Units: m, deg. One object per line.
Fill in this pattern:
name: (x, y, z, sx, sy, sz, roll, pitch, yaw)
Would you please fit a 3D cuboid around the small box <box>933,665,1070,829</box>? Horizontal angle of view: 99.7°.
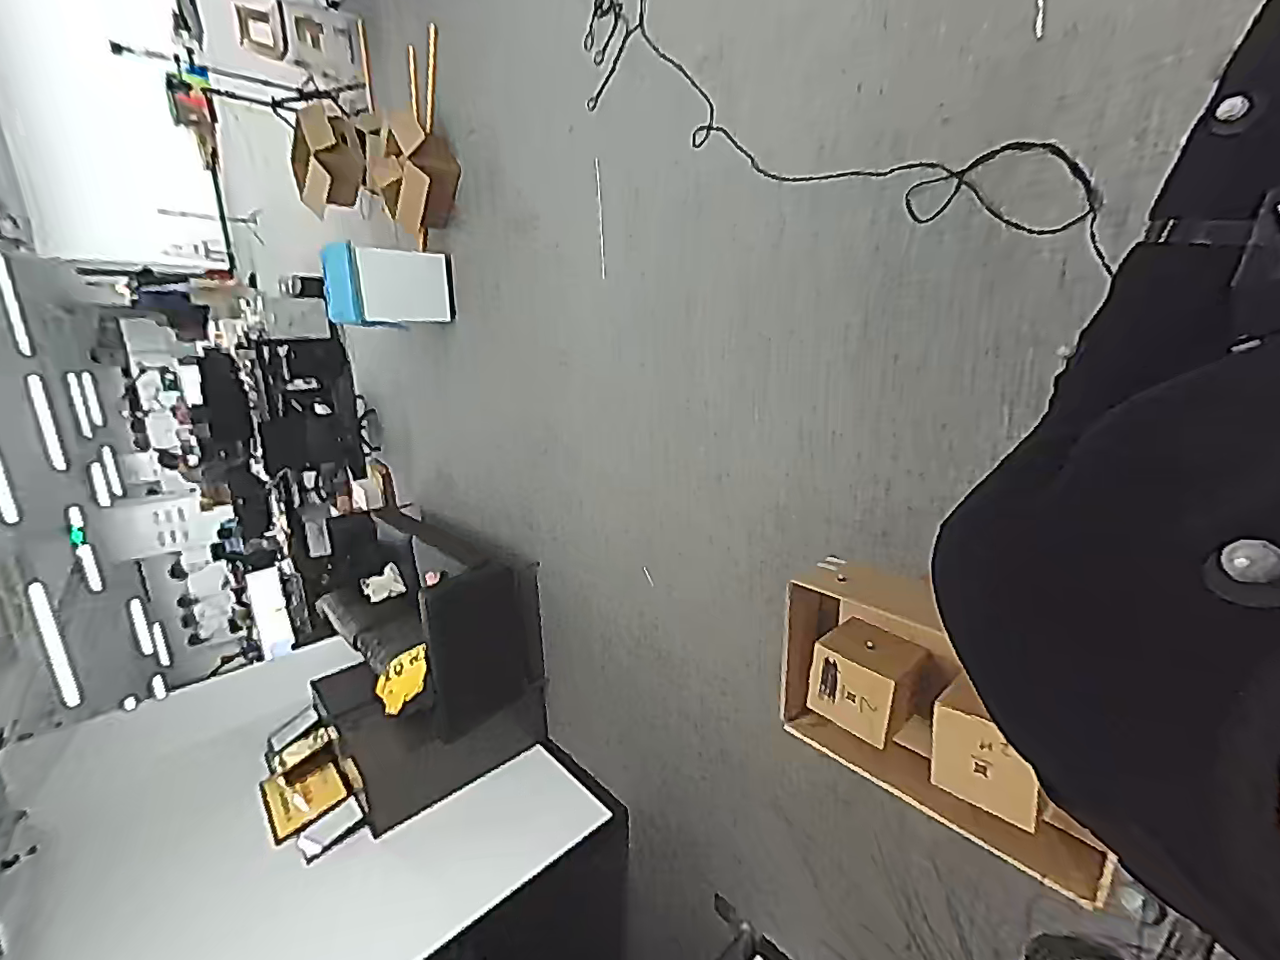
small box: (0.658, 0.473, 0.986, 0.168, 0.176, 0.179, 10, 107, 48)
